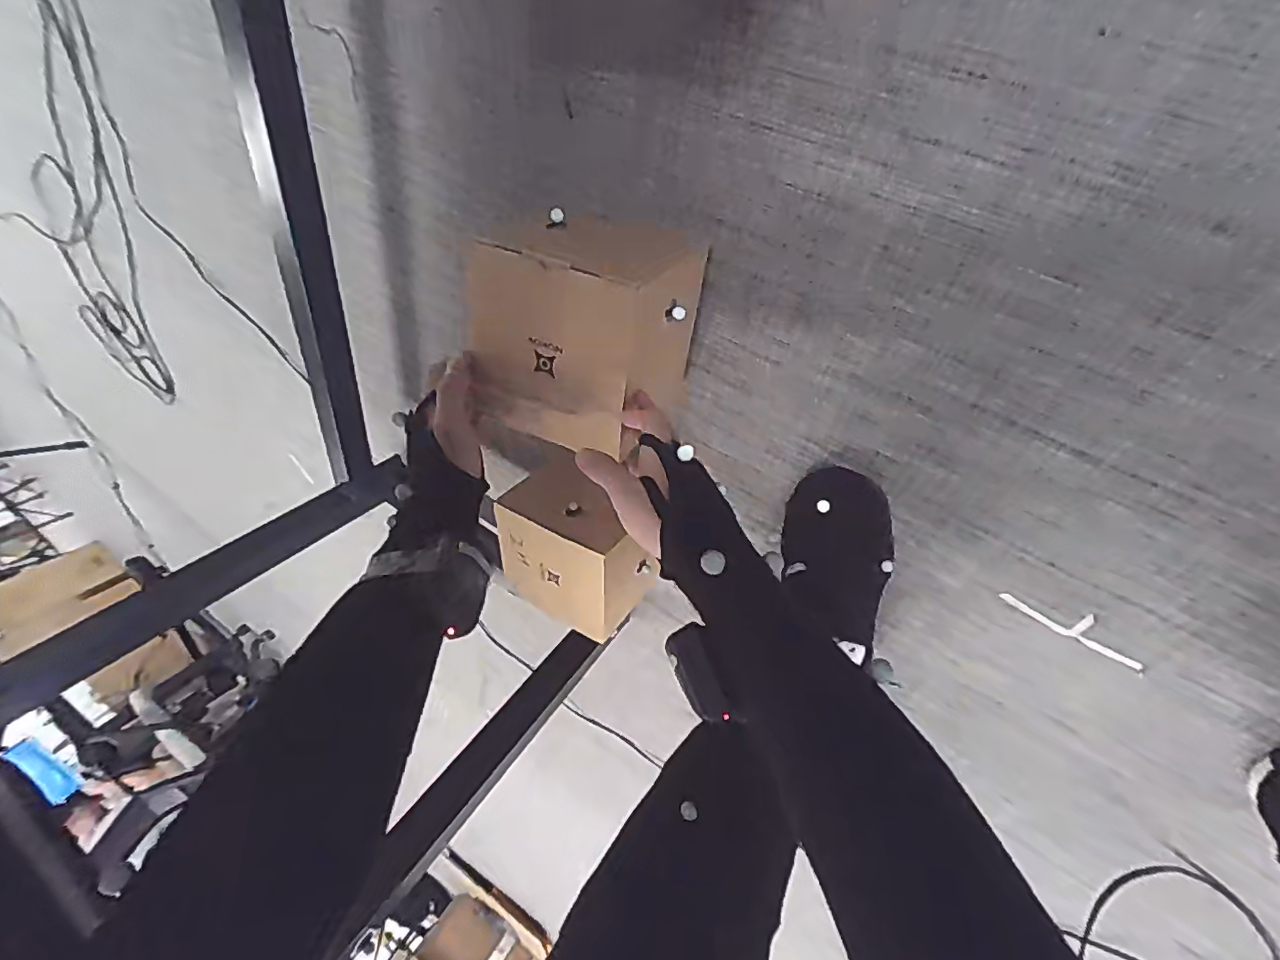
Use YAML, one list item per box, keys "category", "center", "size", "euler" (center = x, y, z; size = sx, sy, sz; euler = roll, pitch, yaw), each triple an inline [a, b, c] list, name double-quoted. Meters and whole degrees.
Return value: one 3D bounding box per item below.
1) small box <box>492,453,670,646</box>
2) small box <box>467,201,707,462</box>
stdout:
- category: "small box"
  center: [-0.074, 0.084, 0.743]
  size: [0.179, 0.176, 0.168]
  euler: [22, 129, 24]
- category: "small box"
  center: [-0.046, -0.154, 0.528]
  size: [0.168, 0.176, 0.179]
  euler: [22, 131, 14]
